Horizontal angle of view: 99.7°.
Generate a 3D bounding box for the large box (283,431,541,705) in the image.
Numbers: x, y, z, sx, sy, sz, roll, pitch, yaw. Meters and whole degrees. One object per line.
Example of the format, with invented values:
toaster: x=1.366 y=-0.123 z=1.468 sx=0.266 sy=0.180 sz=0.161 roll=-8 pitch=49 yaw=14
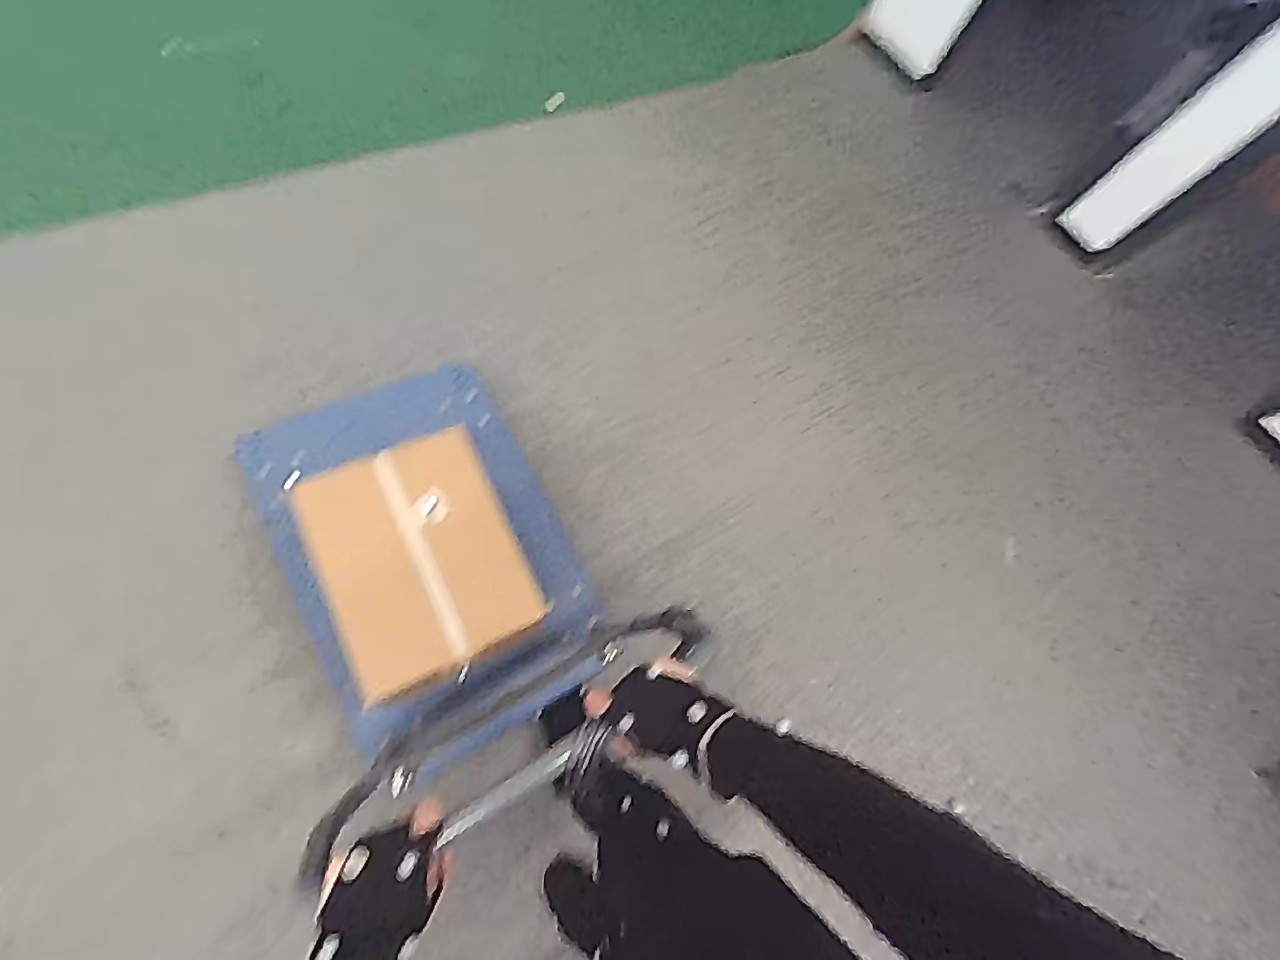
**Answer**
large box: x=-0.426 y=0.183 z=1.076 sx=0.320 sy=0.320 sz=0.408 roll=-23 pitch=75 yaw=-22
